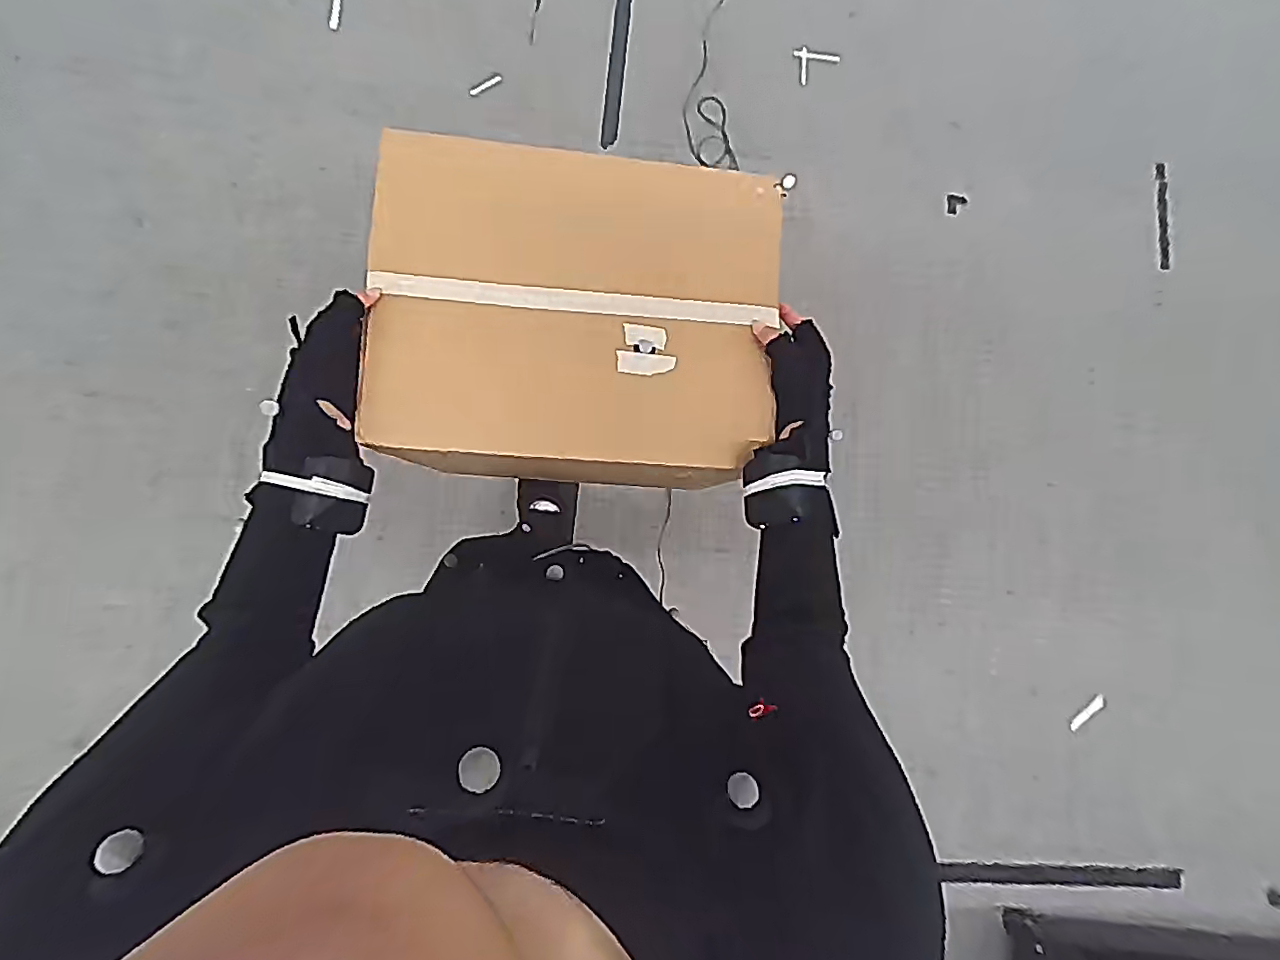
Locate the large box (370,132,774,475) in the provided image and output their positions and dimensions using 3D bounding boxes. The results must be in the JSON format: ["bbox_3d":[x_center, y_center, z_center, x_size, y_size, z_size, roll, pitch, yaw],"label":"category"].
[{"bbox_3d":[-0.077,-0.178,0.698,0.408,0.320,0.320,4,87,-6],"label":"large box"}]
